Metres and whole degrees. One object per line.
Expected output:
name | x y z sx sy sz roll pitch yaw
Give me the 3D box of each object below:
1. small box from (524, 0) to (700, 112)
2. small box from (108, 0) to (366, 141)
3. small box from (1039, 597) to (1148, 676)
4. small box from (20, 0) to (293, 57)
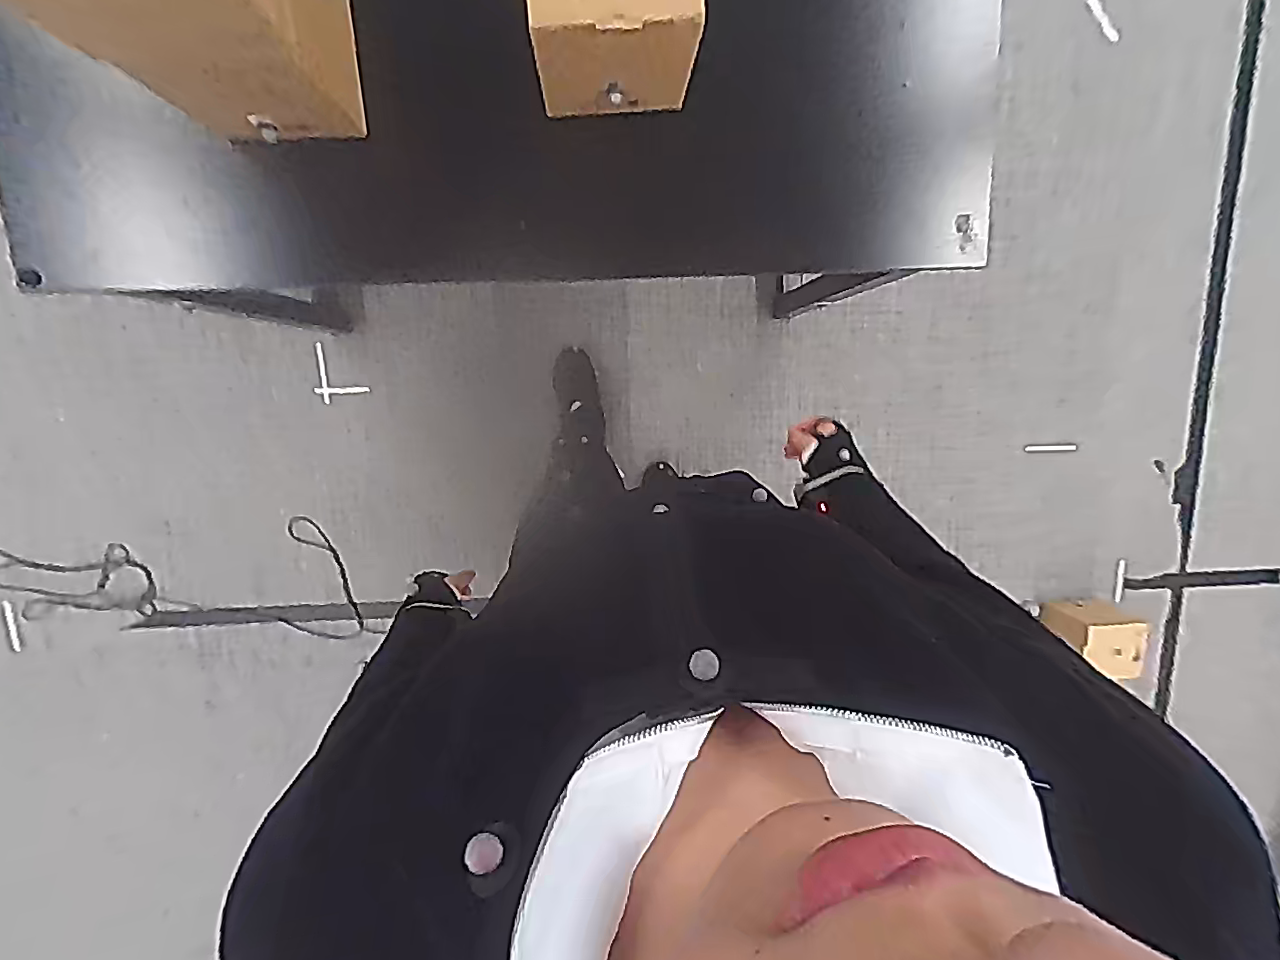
small box | -0.036 -0.524 0.565 0.168 0.176 0.179 -6 100 -2
small box | -0.406 -0.478 0.550 0.168 0.176 0.179 -4 101 -2
small box | 1.307 0.448 1.570 0.179 0.176 0.168 -2 100 -3
small box | -0.397 -0.444 0.389 0.179 0.176 0.168 -6 100 -3
